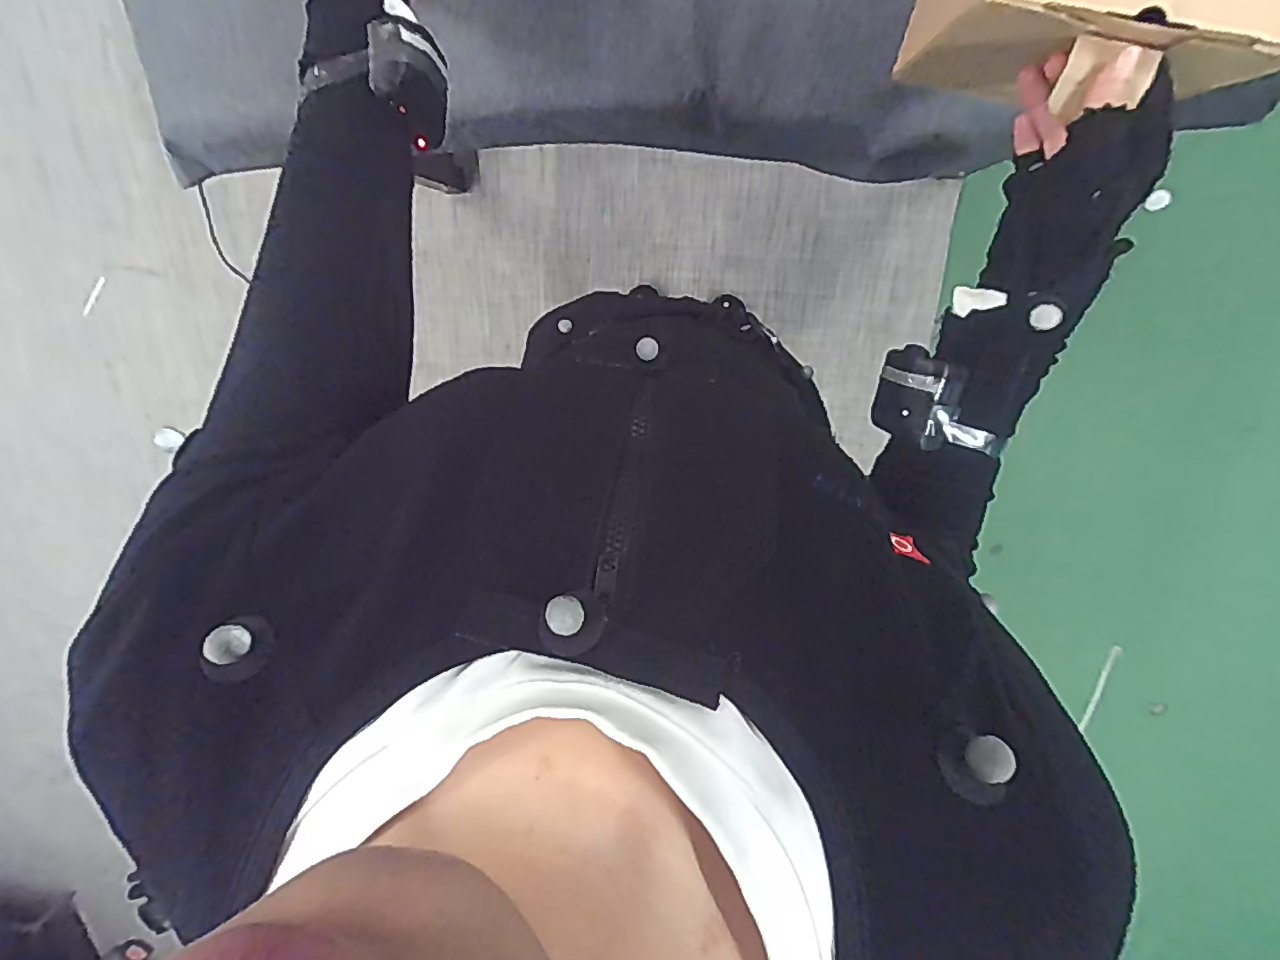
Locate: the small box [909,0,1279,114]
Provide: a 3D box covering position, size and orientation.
[{"bbox_3d":[0.278,-0.331,0.304,0.168,0.176,0.179,13,117,2],"label":"small box"}]
